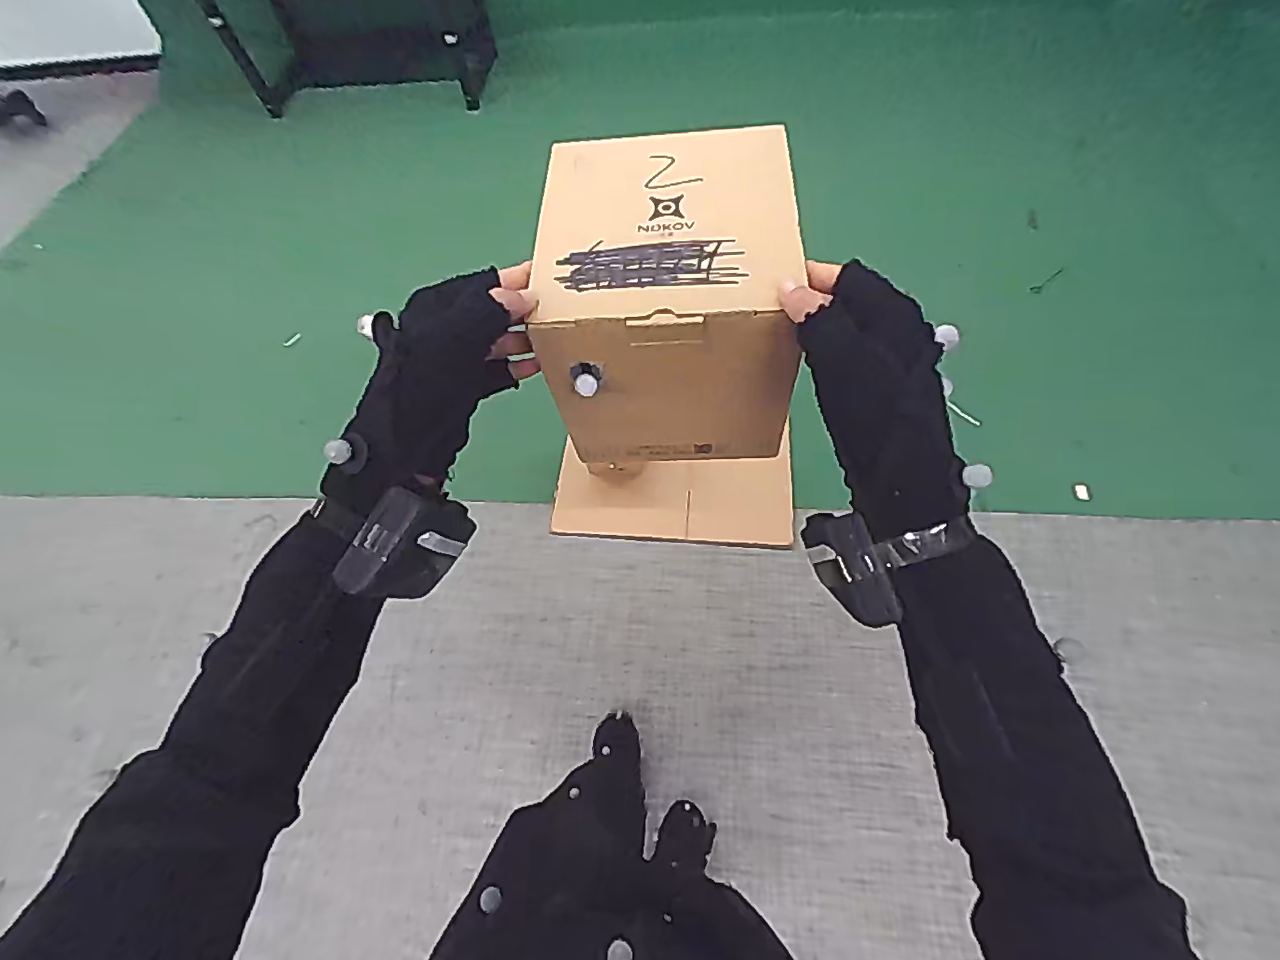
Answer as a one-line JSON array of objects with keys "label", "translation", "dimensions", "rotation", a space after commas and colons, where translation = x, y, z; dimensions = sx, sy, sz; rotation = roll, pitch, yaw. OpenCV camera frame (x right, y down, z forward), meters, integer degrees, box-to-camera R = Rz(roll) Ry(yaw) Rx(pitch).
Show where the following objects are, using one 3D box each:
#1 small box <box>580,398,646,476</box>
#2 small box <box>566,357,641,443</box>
[{"label": "small box", "translation": [-0.074, -0.130, 1.621], "dimensions": [0.168, 0.176, 0.179], "rotation": [1, 60, 8]}, {"label": "small box", "translation": [-0.091, -0.215, 1.481], "dimensions": [0.168, 0.176, 0.179], "rotation": [2, 59, 8]}]
